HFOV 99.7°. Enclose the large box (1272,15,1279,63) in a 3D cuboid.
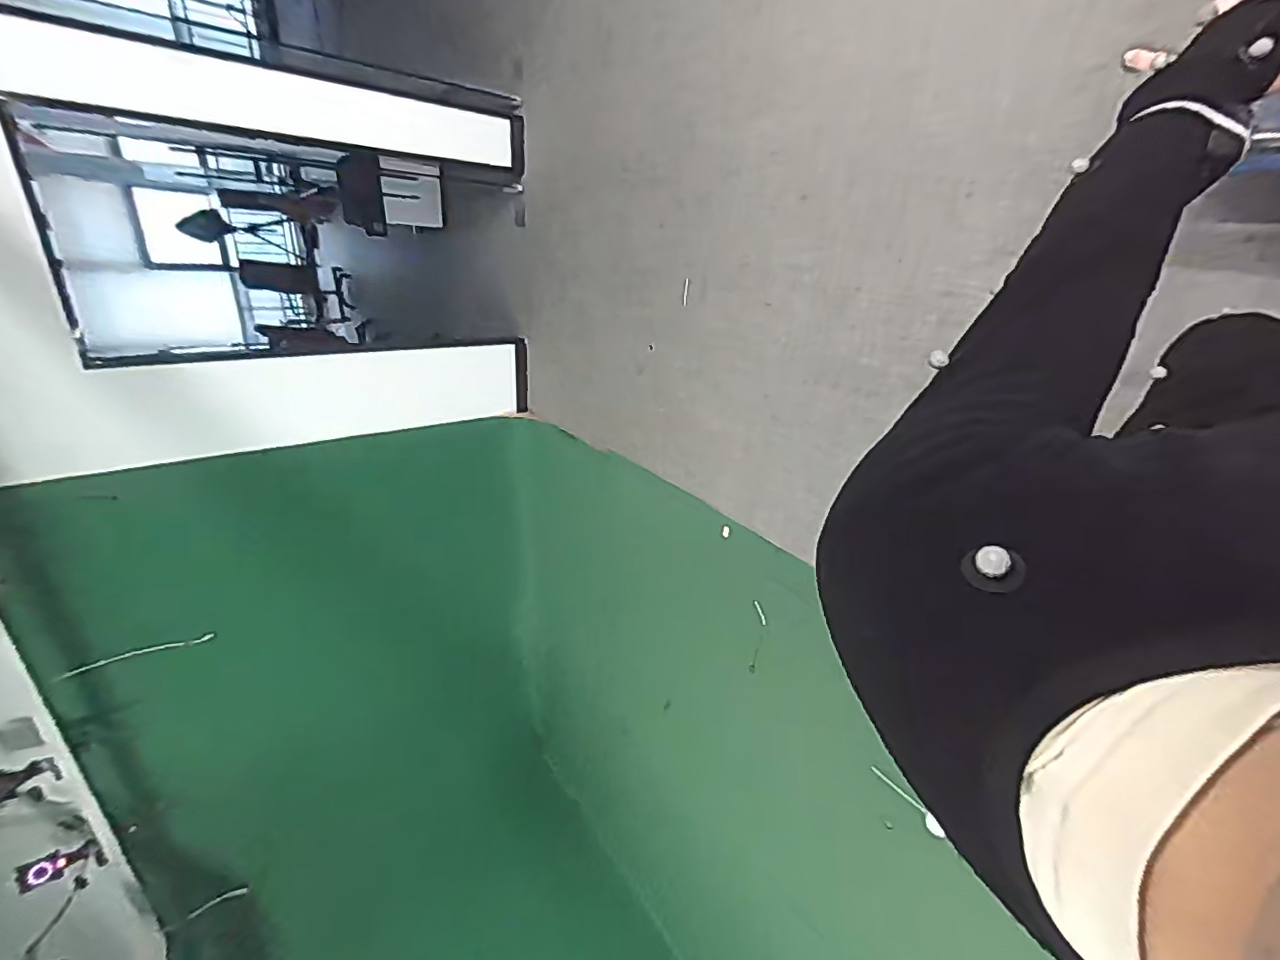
[{"bbox_3d":[1.051,-0.725,0.616,0.320,0.320,0.408,29,122,44],"label":"large box"}]
